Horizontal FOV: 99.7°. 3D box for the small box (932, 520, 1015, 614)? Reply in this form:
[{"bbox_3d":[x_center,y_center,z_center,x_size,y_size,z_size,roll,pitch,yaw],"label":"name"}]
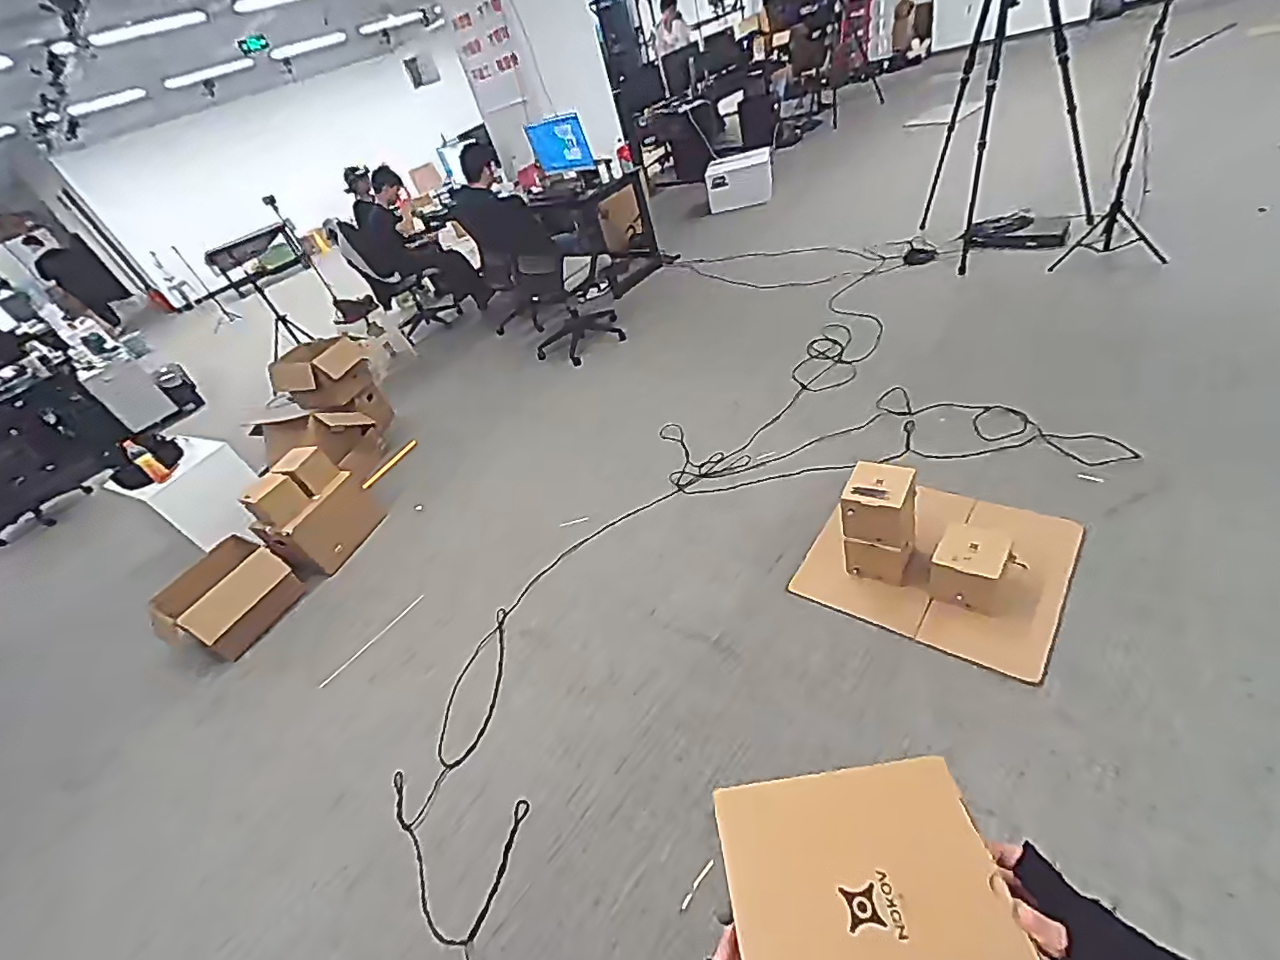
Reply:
[{"bbox_3d":[0.956,0.249,1.562,0.168,0.176,0.179,16,52,39],"label":"small box"}]

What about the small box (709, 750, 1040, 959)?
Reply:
[{"bbox_3d":[0.157,0.329,0.395,0.179,0.176,0.168,-10,39,2],"label":"small box"}]

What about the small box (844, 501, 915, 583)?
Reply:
[{"bbox_3d":[0.761,0.197,1.712,0.168,0.176,0.179,13,49,36],"label":"small box"}]
